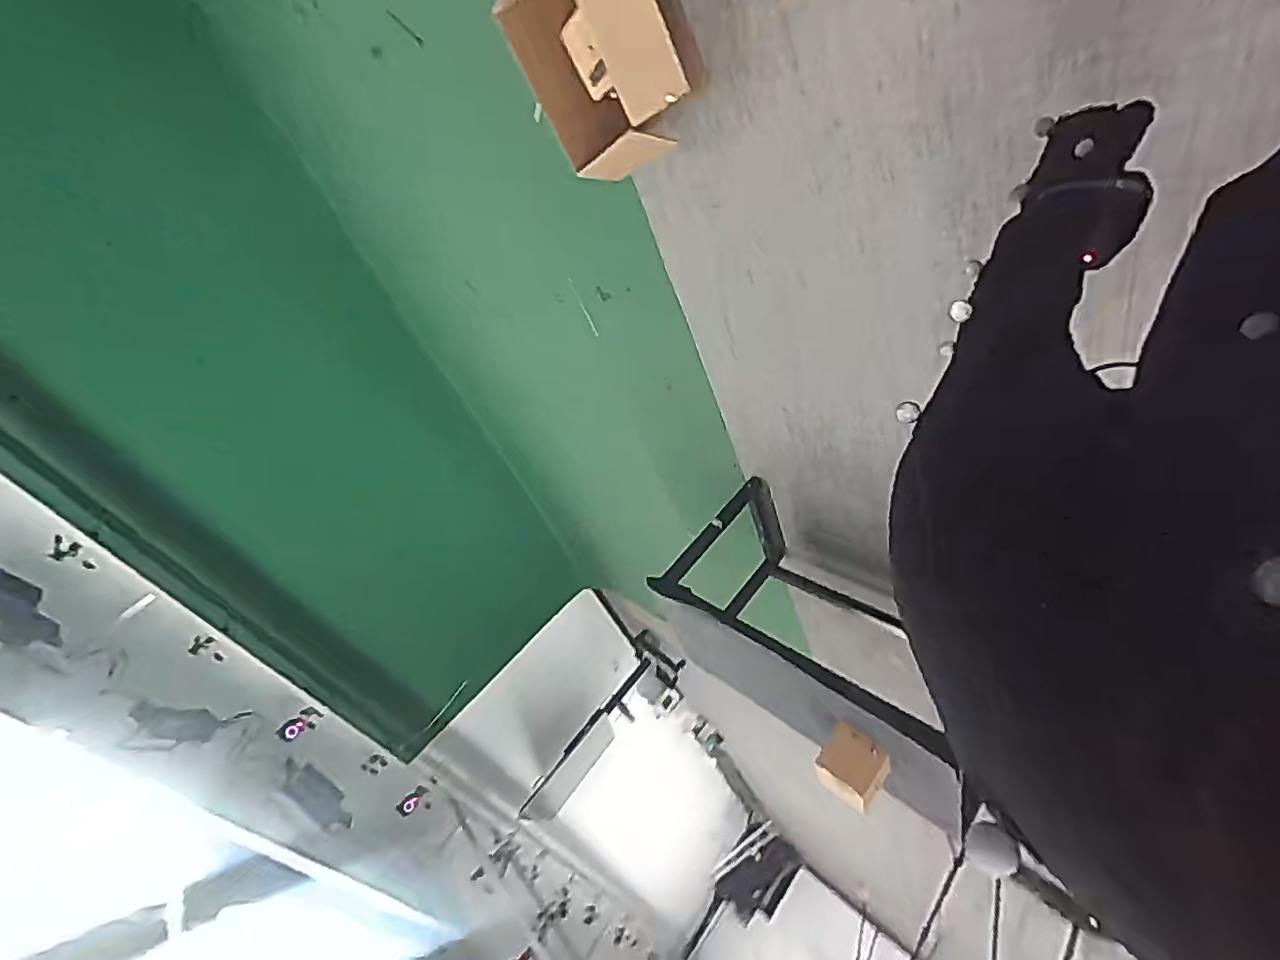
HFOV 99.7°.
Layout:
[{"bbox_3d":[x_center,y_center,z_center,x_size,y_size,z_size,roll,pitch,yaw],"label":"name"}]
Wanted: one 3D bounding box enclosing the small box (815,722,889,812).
[{"bbox_3d":[0.686,0.918,1.742,0.168,0.176,0.179,25,149,41],"label":"small box"}]
